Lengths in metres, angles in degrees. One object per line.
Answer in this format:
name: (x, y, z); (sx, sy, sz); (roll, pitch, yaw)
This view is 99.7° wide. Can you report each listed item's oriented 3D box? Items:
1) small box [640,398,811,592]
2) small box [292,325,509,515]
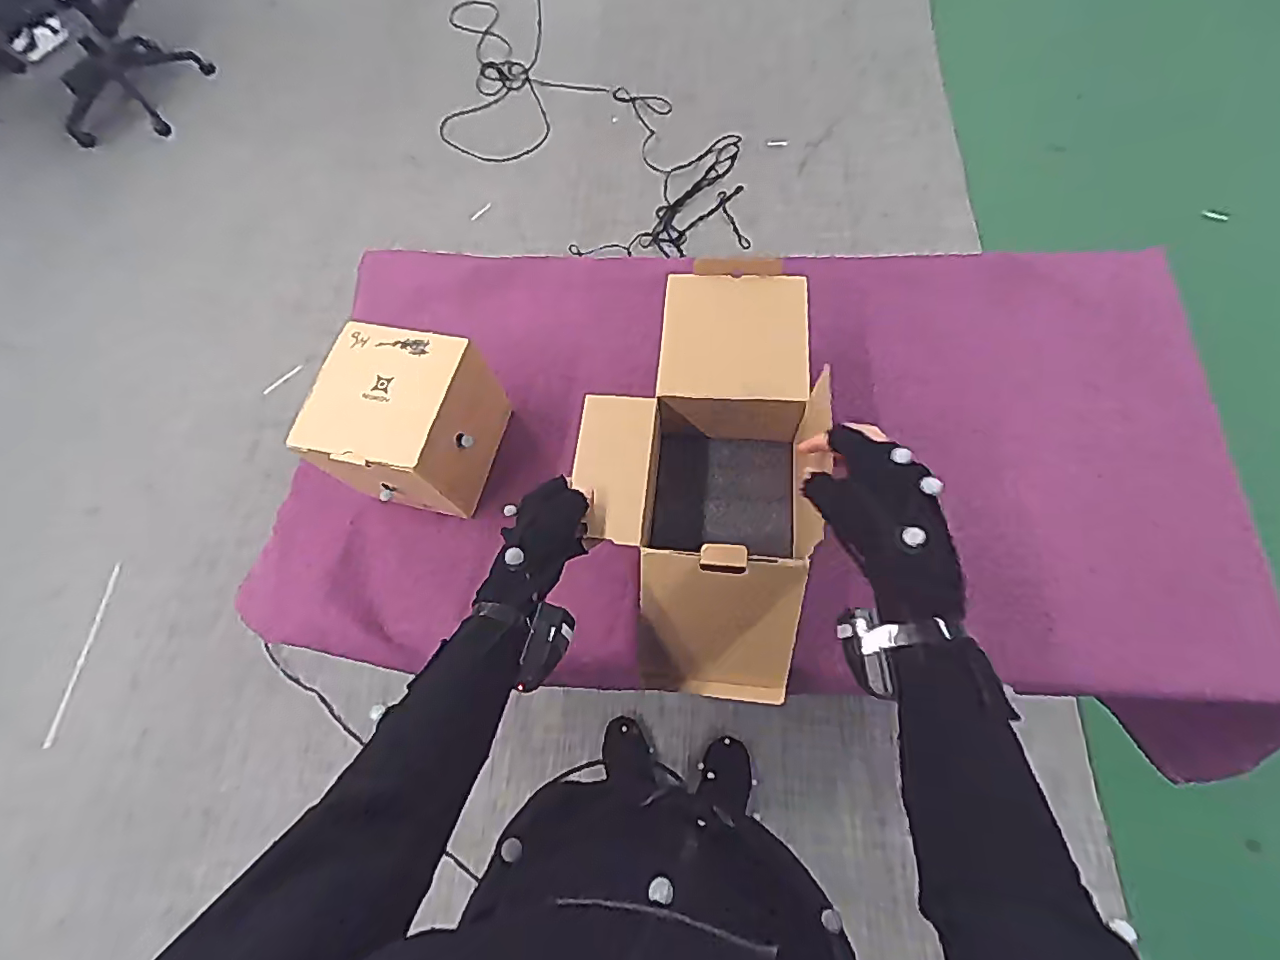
small box: (0.098, 0.025, 0.621); (0.168, 0.176, 0.179); (4, 68, 7)
small box: (-0.288, -0.068, 0.697); (0.168, 0.176, 0.179); (11, 70, 10)
